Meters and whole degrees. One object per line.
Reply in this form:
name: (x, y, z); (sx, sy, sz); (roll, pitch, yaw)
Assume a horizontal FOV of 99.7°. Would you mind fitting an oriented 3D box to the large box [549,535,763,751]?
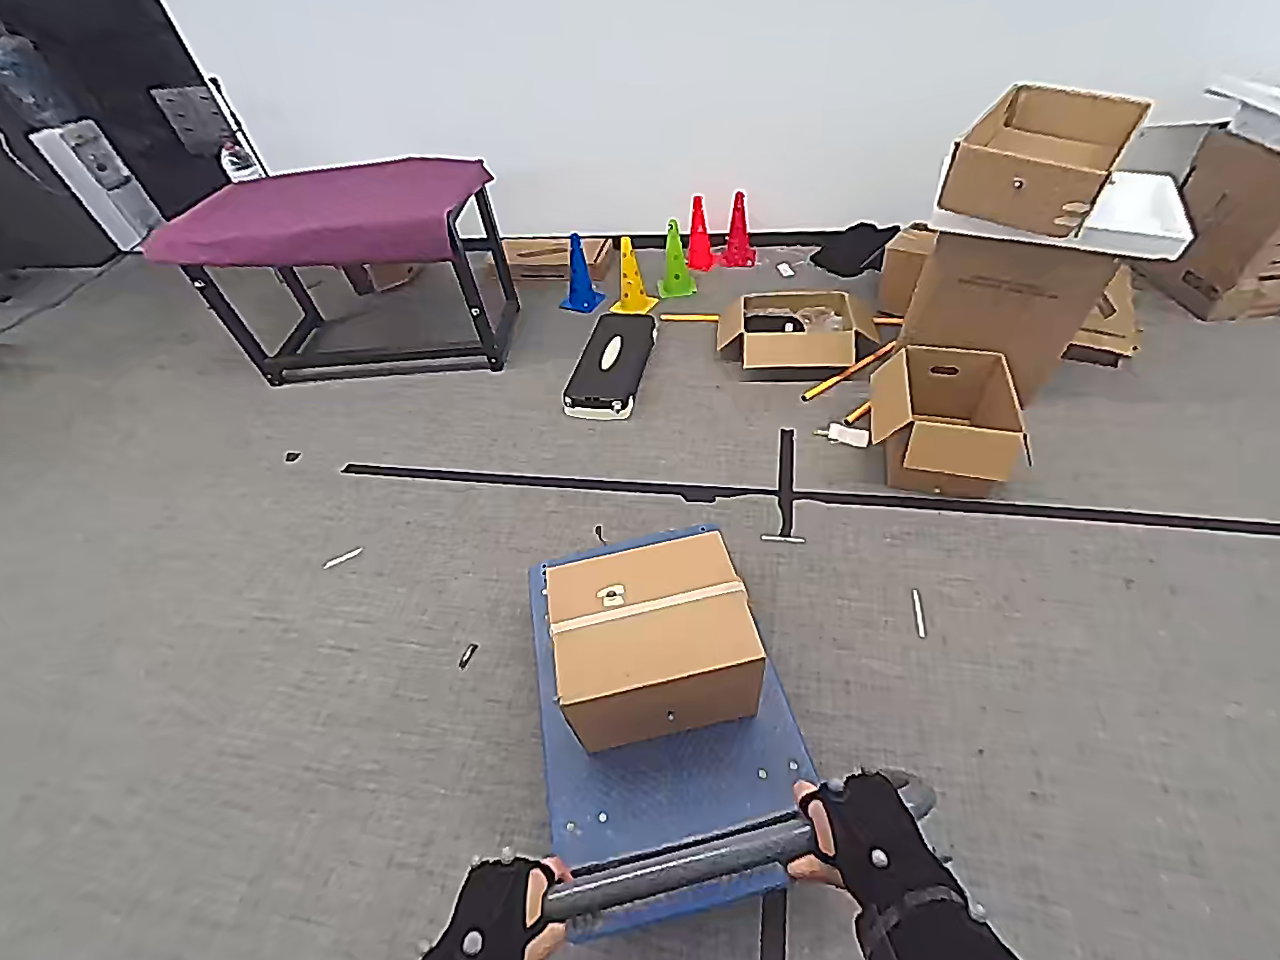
large box: (0.036, 0.380, 1.251); (0.408, 0.320, 0.320); (-13, 47, -3)
